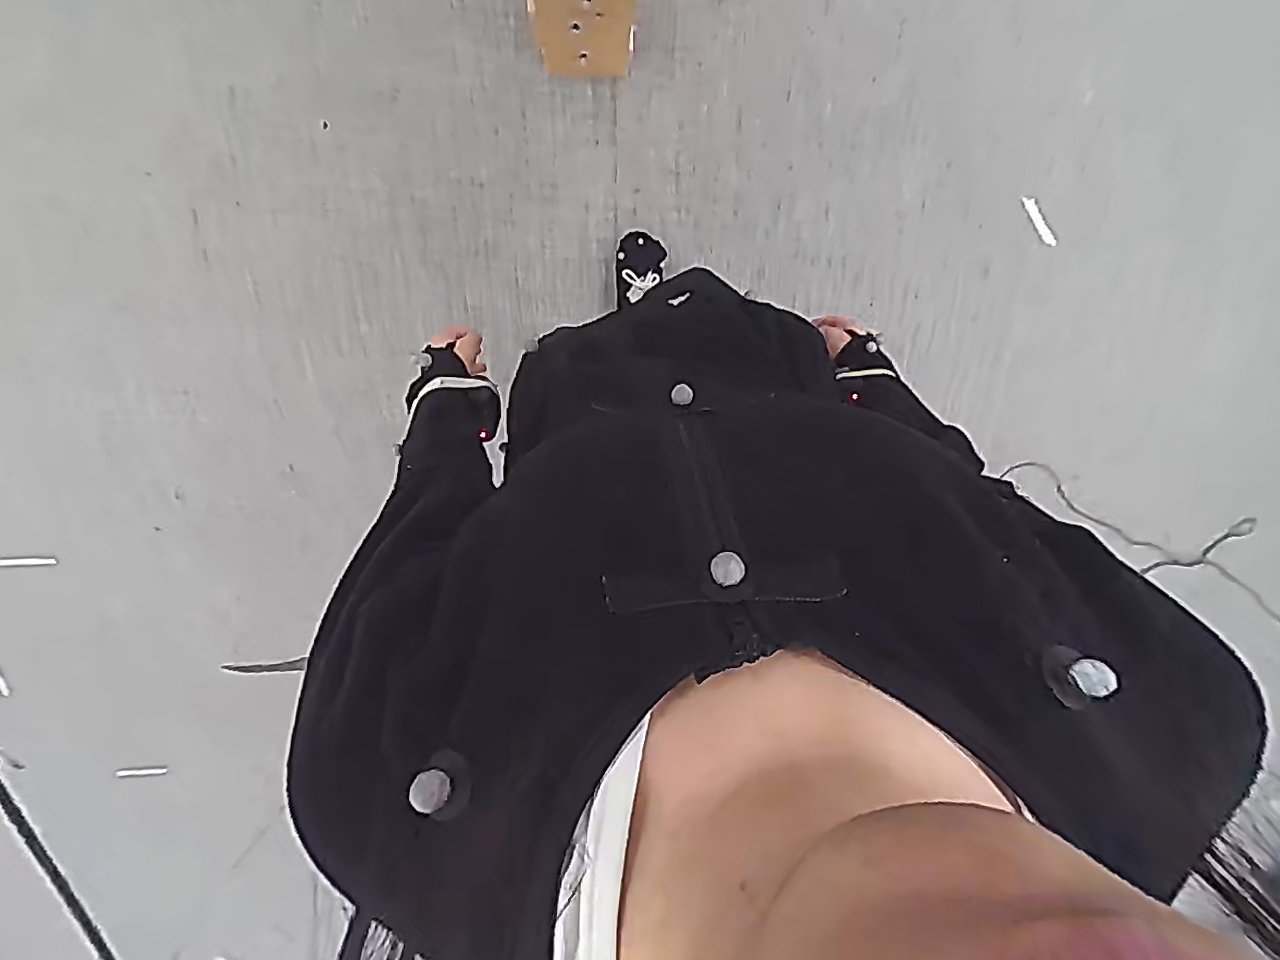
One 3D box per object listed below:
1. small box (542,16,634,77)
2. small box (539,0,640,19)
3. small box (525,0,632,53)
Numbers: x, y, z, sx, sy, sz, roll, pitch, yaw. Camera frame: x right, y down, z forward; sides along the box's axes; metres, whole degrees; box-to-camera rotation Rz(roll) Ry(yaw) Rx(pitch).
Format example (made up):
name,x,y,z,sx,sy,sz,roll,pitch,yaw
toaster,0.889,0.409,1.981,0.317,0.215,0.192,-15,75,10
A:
name,x,y,z,sx,sy,sz,roll,pitch,yaw
small box,-0.105,-0.925,1.072,0.179,0.176,0.168,-1,113,-5
small box,-0.076,-0.798,0.771,0.168,0.176,0.179,1,114,-5
small box,-0.098,-0.858,0.921,0.179,0.176,0.168,1,113,-5
